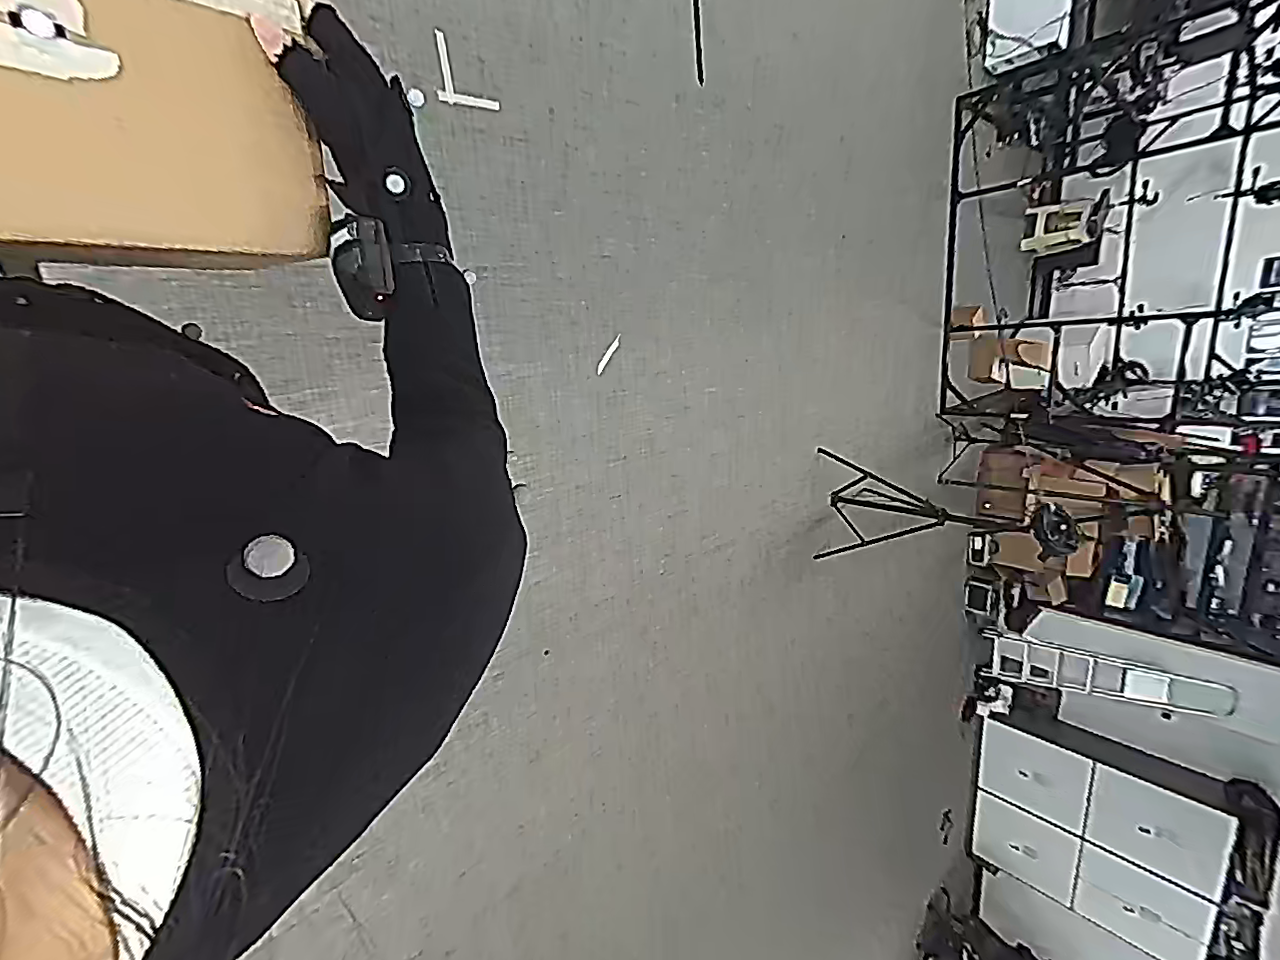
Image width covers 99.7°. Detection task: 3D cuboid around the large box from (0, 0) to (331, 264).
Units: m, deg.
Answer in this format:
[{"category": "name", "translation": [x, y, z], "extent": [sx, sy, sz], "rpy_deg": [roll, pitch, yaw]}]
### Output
[{"category": "large box", "translation": [-0.498, -0.320, 0.363], "extent": [0.408, 0.320, 0.320], "rpy_deg": [-18, 117, -42]}]
